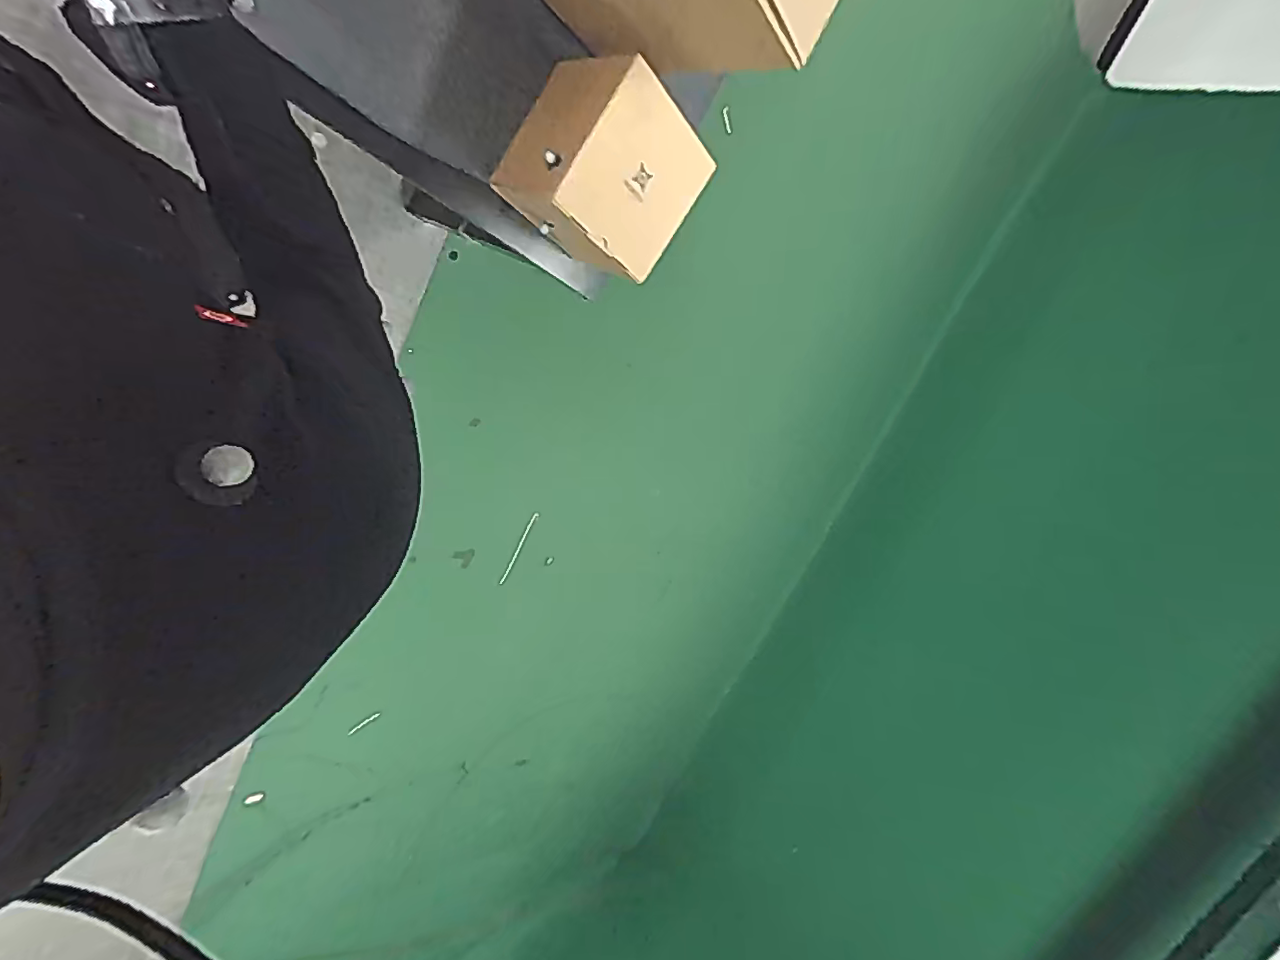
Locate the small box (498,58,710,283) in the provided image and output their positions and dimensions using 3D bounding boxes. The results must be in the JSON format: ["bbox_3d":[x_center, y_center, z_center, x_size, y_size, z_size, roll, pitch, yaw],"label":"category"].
[{"bbox_3d":[-0.051,-0.390,0.686,0.168,0.176,0.179,27,101,-49],"label":"small box"}]
